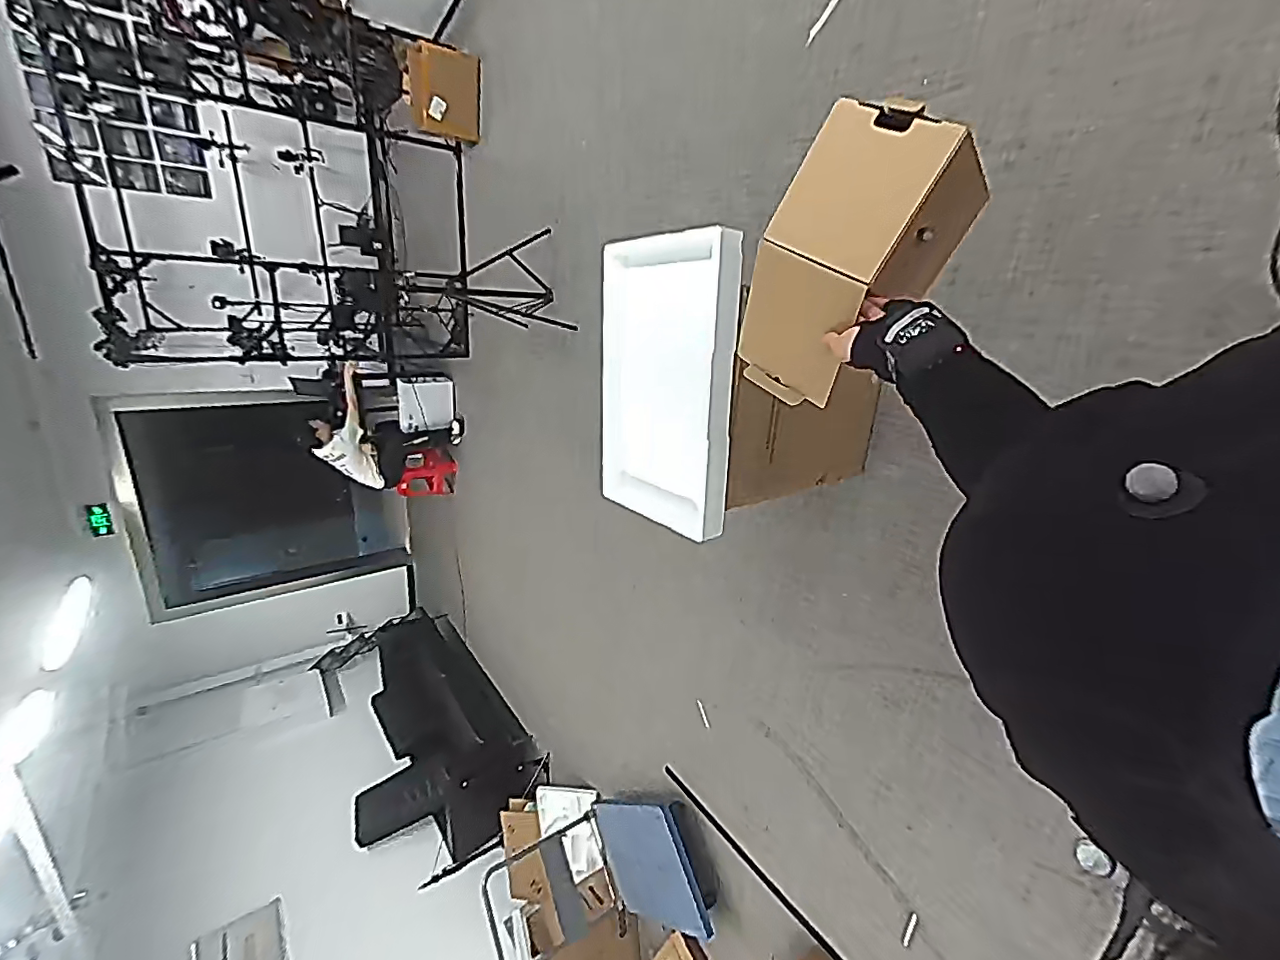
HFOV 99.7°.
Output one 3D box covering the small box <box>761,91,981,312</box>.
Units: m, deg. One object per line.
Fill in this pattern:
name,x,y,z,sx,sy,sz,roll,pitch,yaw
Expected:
small box,0.293,-0.336,0.680,0.168,0.176,0.179,43,114,32
